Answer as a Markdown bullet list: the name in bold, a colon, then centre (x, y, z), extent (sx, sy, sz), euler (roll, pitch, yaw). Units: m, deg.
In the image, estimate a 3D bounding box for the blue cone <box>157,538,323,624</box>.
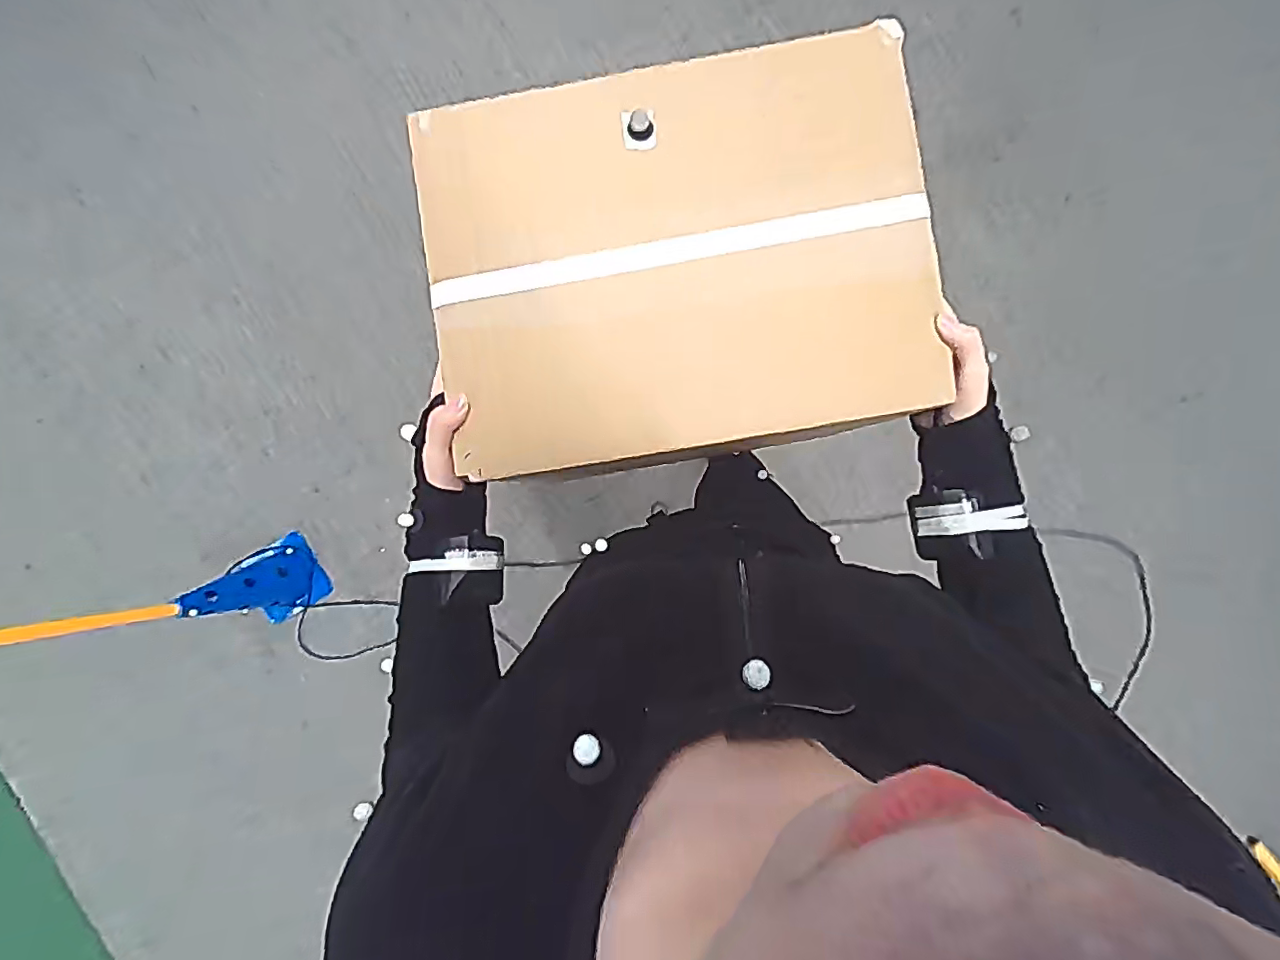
- **blue cone**: centre (-0.974, 0.271, 1.289), extent (0.192, 0.380, 0.193), euler (-33, 89, 0)
